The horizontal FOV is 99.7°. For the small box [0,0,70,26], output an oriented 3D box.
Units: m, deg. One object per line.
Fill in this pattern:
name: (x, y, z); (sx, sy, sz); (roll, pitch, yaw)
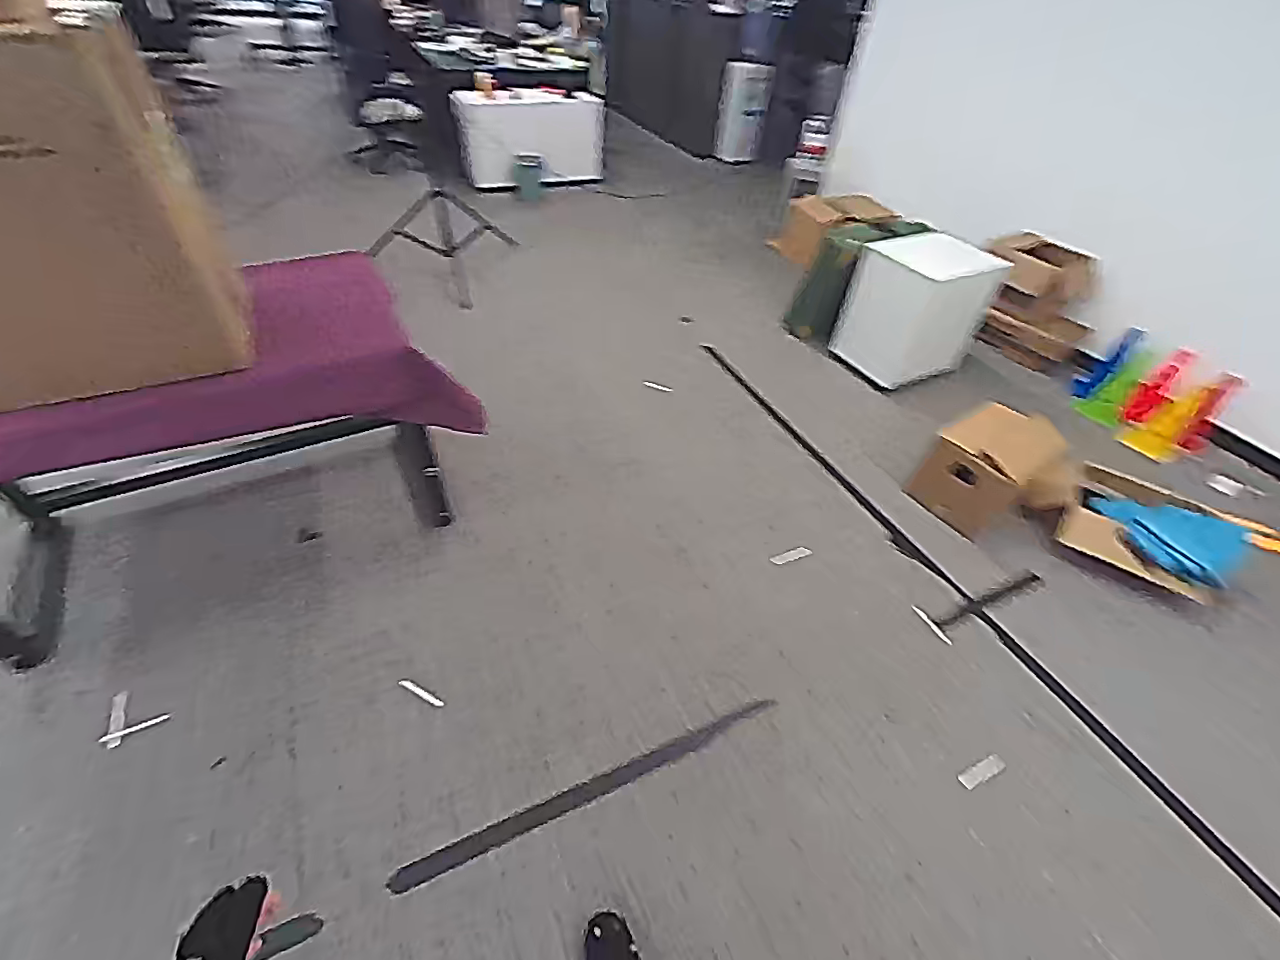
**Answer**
small box: (-1.060, -0.833, 0.843); (0.168, 0.176, 0.179); (-14, 49, -18)
